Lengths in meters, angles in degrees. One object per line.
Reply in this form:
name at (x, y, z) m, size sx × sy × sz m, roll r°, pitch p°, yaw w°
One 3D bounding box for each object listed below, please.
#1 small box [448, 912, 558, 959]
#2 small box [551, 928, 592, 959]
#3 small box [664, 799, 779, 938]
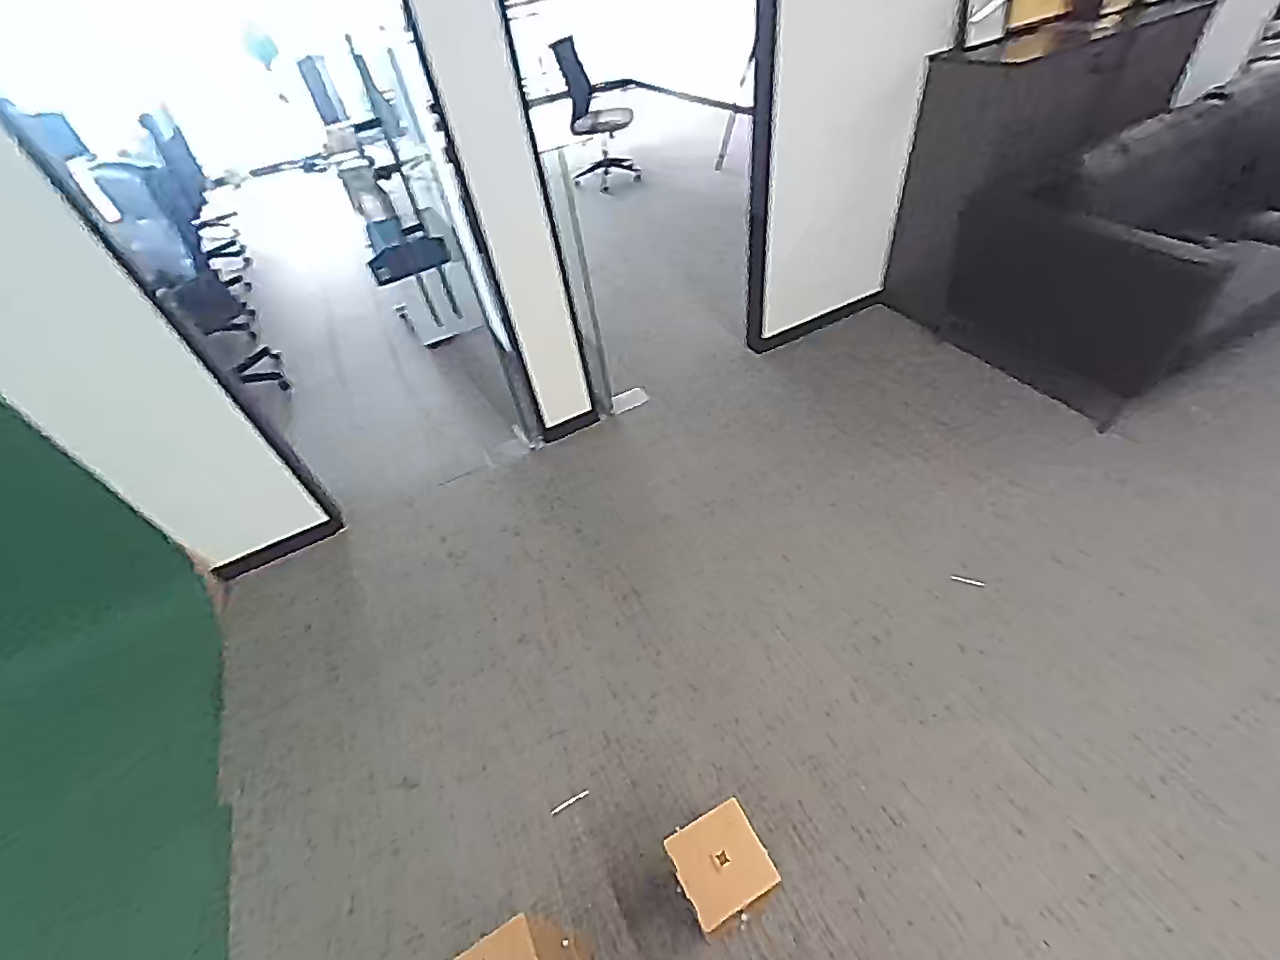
small box at (-0.219, 0.871, 0.898) m, size 0.168 × 0.176 × 0.179 m, roll -26°, pitch 46°, yaw -16°
small box at (-0.184, 1.094, 1.136) m, size 0.179 × 0.176 × 0.168 m, roll -24°, pitch 46°, yaw -14°
small box at (0.167, 0.811, 1.129) m, size 0.179 × 0.176 × 0.168 m, roll -25°, pitch 47°, yaw -14°
